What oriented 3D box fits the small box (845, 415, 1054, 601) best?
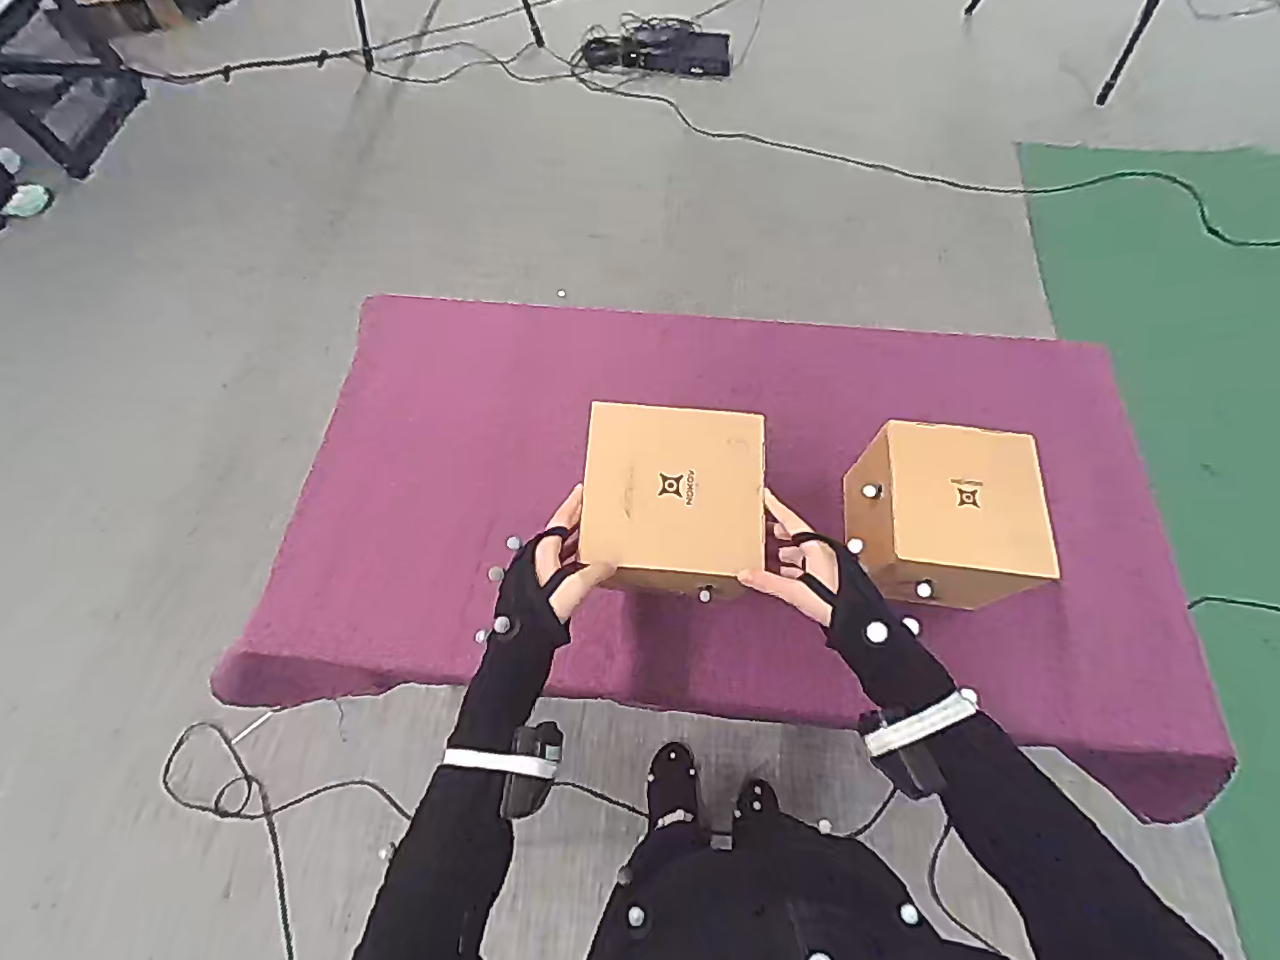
[{"bbox_3d":[0.364,0.043,0.674,0.168,0.176,0.179,6,64,4],"label":"small box"}]
